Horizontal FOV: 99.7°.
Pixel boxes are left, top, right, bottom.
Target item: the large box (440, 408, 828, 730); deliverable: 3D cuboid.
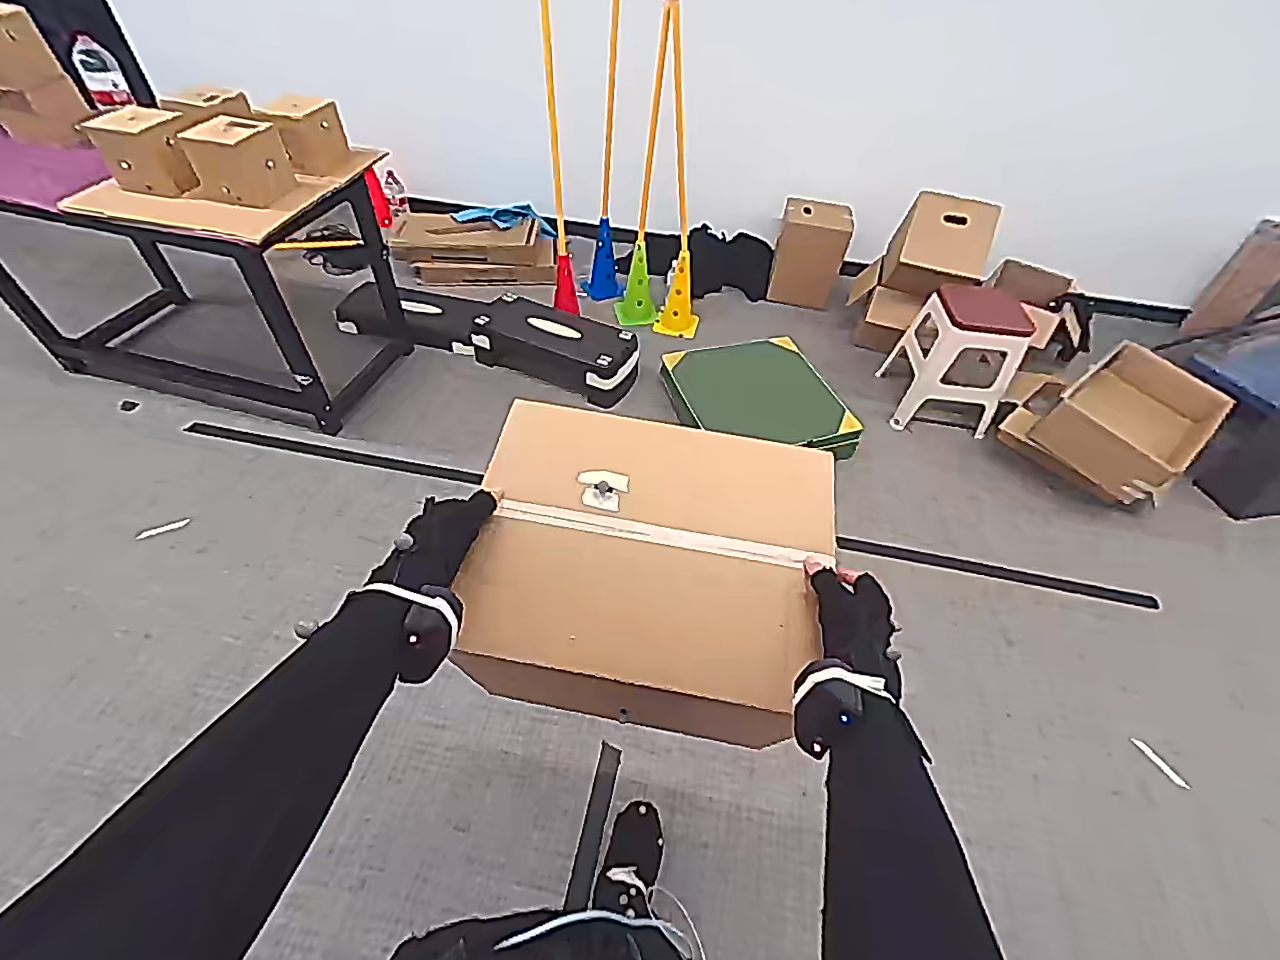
[{"bbox_3d":[0.010,0.138,0.744,0.408,0.320,0.320,9,59,3],"label":"large box"}]
